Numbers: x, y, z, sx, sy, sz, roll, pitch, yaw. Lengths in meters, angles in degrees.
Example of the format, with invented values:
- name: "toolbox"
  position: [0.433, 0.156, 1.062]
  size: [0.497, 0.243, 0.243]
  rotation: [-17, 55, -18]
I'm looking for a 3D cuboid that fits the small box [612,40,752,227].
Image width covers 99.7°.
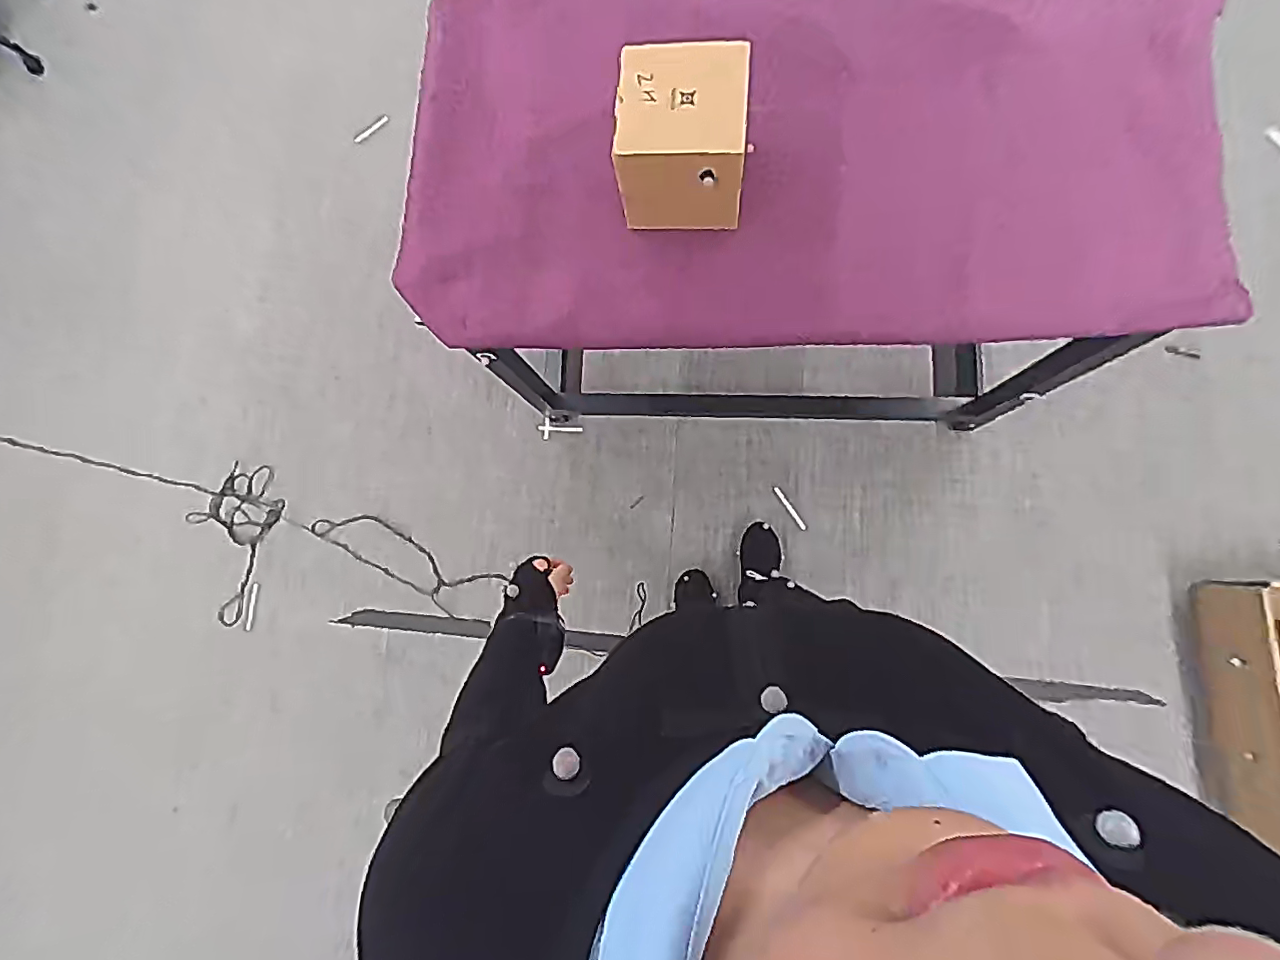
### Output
- name: "small box"
  position: [0.064, -0.494, 0.791]
  size: [0.179, 0.176, 0.168]
  rotation: [3, 82, 8]

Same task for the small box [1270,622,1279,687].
- name: "small box"
  position: [1.558, 0.404, 1.174]
  size: [0.179, 0.176, 0.168]
  rotation: [8, 85, 8]
